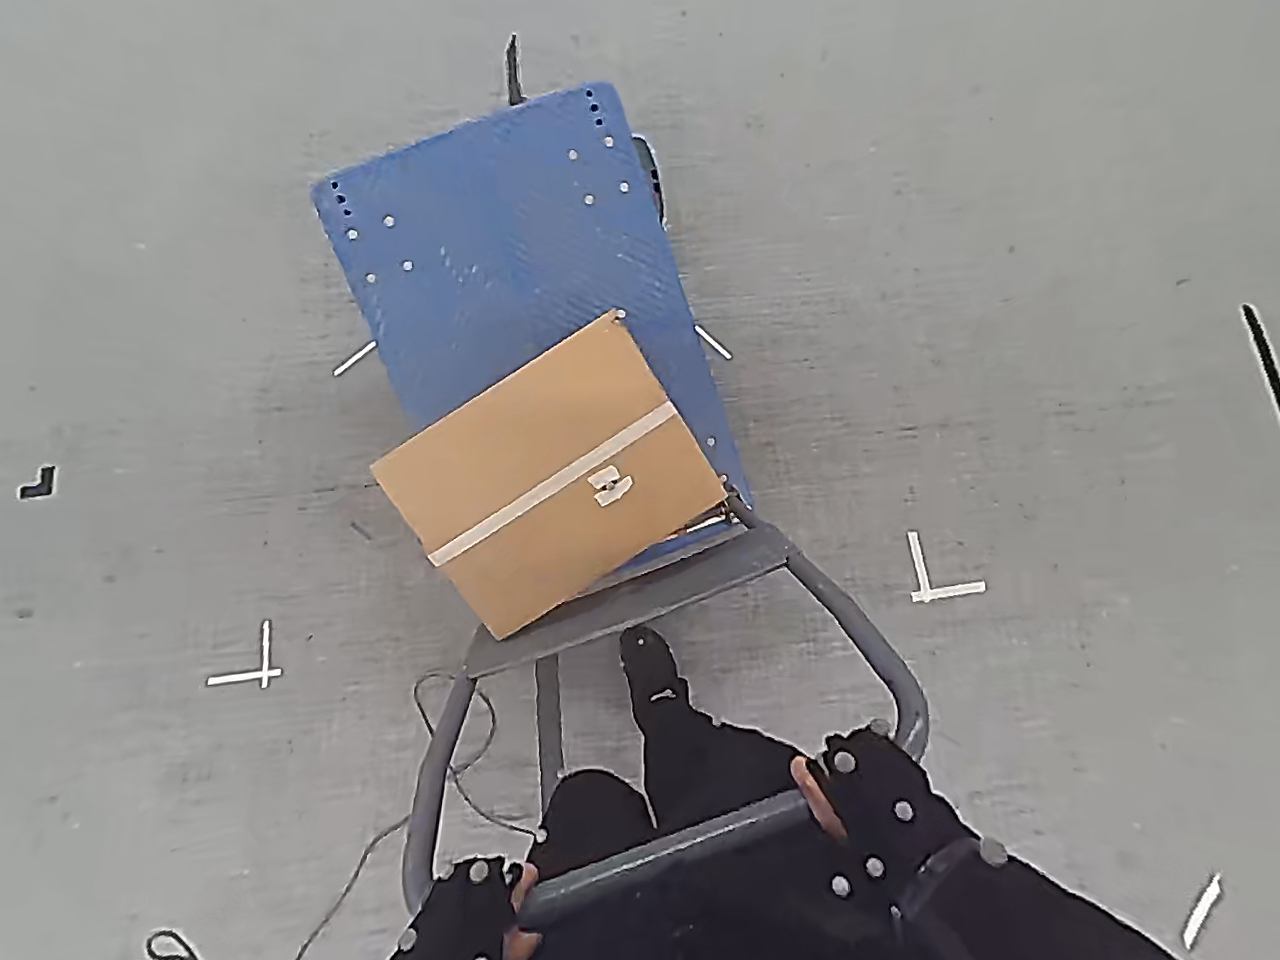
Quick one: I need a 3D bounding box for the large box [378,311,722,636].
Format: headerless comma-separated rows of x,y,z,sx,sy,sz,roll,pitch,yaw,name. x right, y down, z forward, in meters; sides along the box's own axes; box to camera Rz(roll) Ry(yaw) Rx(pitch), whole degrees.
-0.136,-0.020,0.918,0.408,0.320,0.320,-33,100,0,large box
